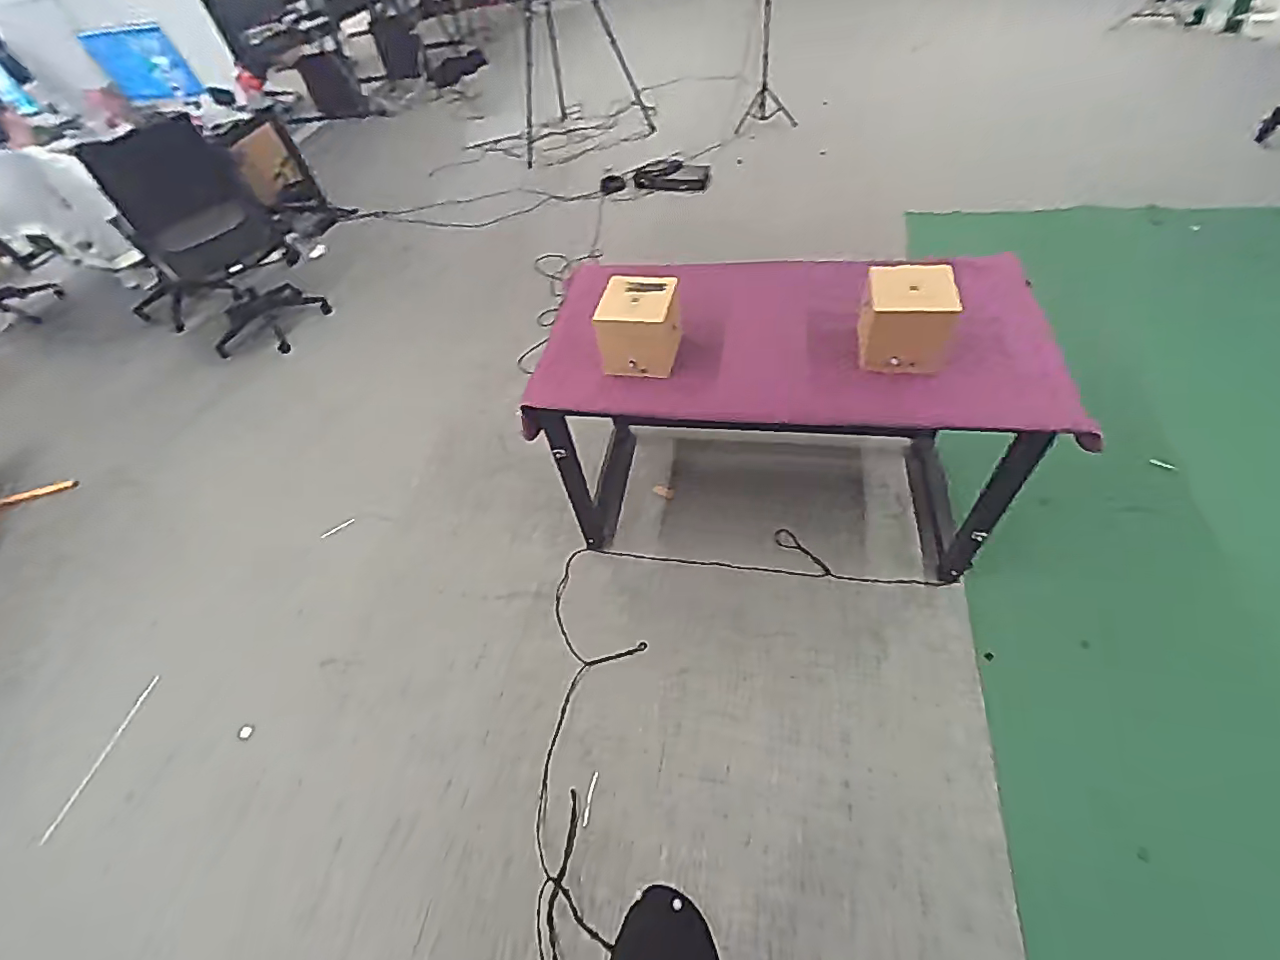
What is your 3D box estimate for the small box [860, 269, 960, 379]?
[{"bbox_3d":[0.592,-0.351,1.210,0.168,0.176,0.179,5,52,15],"label":"small box"}]
